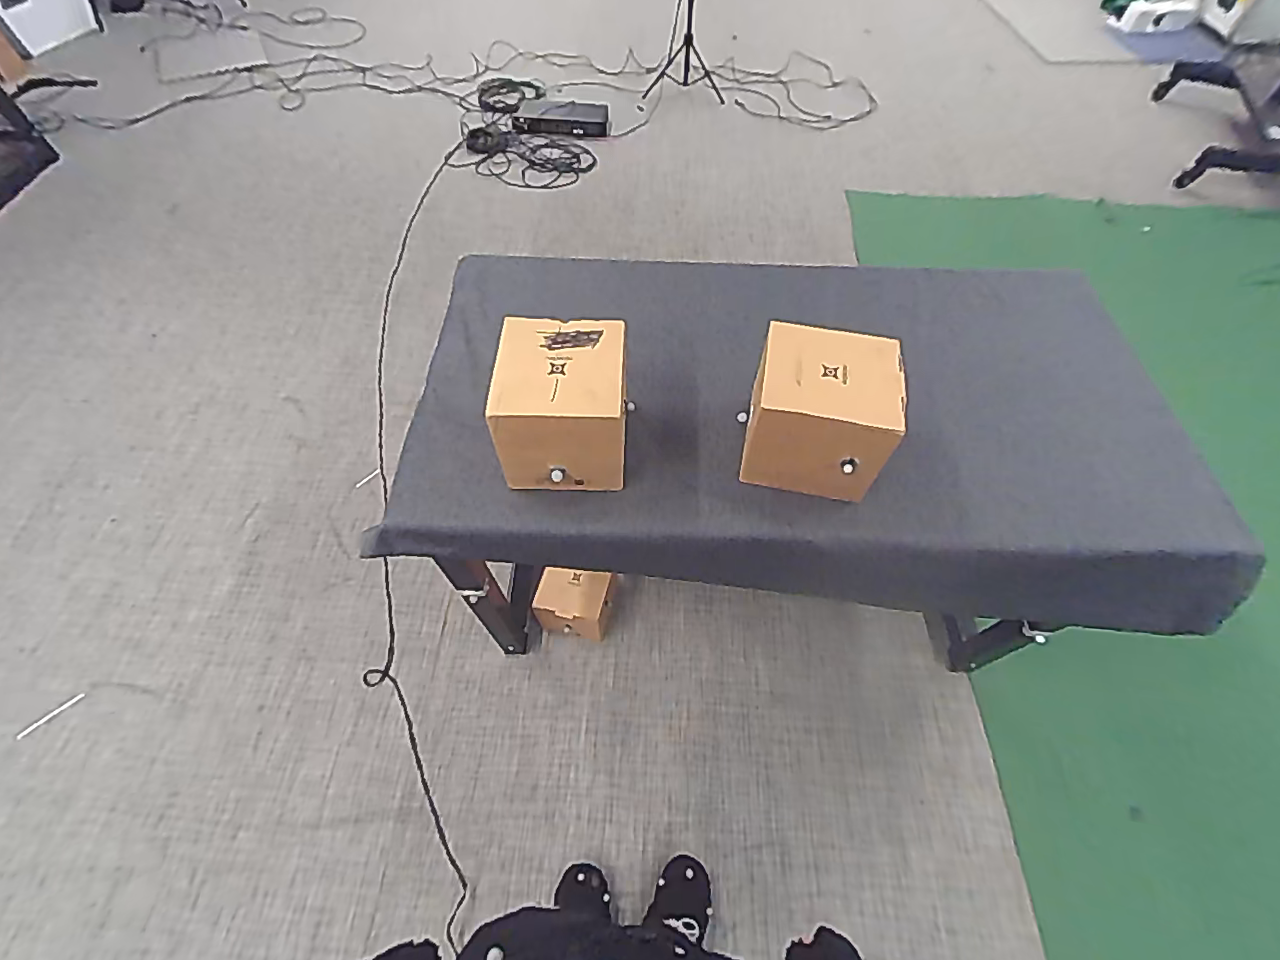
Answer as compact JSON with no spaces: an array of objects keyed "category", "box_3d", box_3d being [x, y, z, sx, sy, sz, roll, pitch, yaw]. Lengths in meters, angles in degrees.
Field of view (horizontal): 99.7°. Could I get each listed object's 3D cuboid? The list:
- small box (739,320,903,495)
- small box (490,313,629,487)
[{"category":"small box","box_3d":[0.248,-0.096,0.767,0.179,0.176,0.168,10,56,6]},{"category":"small box","box_3d":[-0.101,-0.110,0.763,0.168,0.176,0.179,1,57,-1]}]
